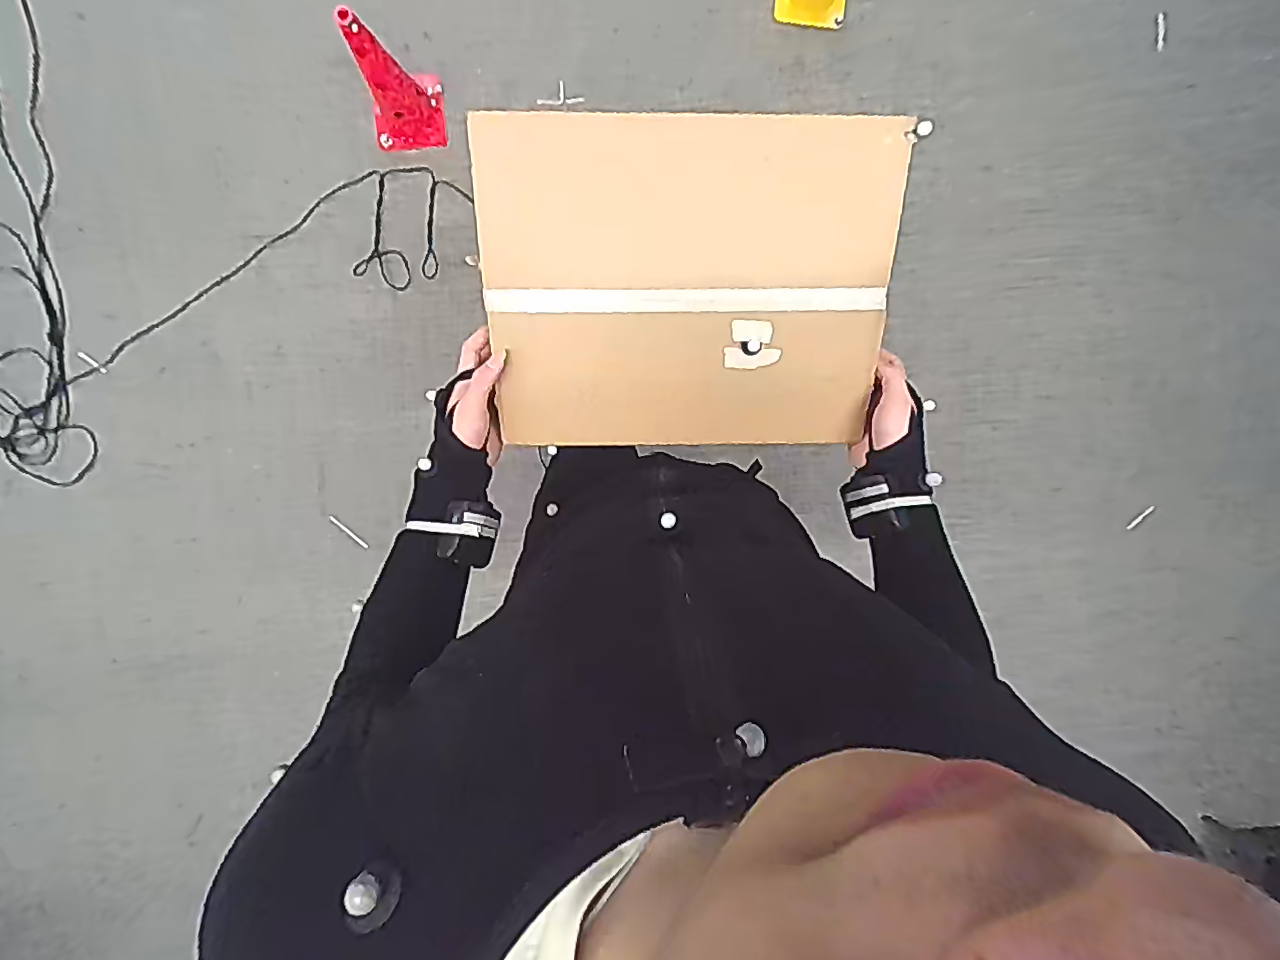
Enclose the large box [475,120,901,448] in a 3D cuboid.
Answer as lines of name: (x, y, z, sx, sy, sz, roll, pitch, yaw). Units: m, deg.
large box: (0.041, -0.242, 0.690, 0.408, 0.320, 0.320, -2, 114, -2)
